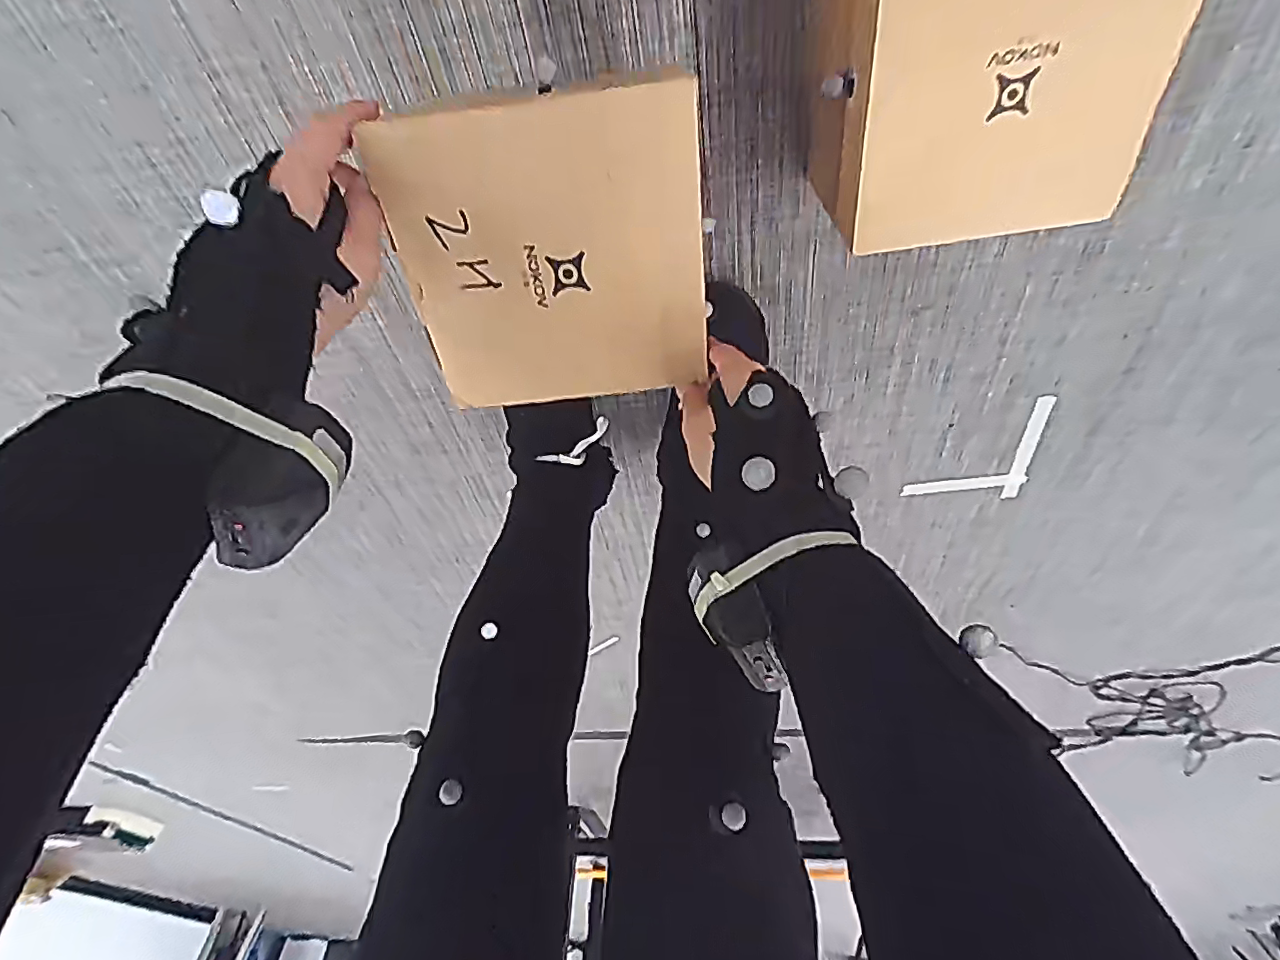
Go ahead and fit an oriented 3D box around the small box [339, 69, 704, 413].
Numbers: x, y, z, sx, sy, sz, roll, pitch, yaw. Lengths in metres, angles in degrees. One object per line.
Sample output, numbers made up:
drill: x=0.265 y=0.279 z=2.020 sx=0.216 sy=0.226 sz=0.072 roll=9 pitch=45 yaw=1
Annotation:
small box: x=-0.056 y=-0.166 z=0.368 sx=0.179 sy=0.176 sz=0.168 roll=-6 pitch=128 yaw=3
